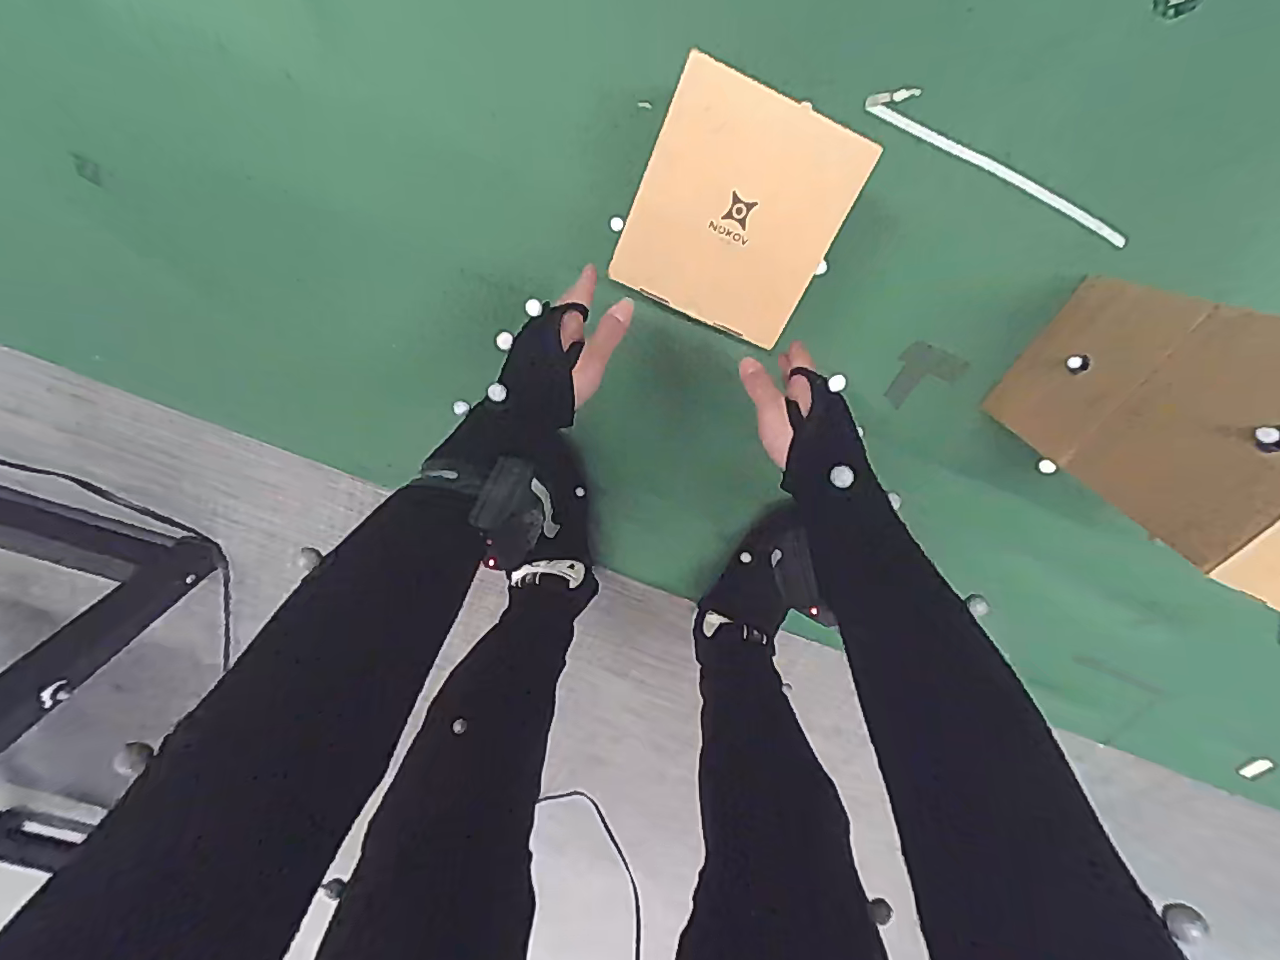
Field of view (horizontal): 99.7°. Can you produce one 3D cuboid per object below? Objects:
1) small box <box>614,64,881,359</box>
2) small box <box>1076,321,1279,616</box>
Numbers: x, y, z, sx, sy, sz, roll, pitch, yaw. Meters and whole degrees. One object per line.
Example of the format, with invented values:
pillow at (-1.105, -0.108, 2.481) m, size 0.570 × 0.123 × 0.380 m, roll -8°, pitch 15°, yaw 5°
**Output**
small box at (0.086, -0.247, 0.518) m, size 0.168 × 0.176 × 0.179 m, roll 22°, pitch 118°, yaw -8°
small box at (0.516, -0.004, 0.429) m, size 0.168 × 0.176 × 0.179 m, roll 23°, pitch 118°, yaw -8°
